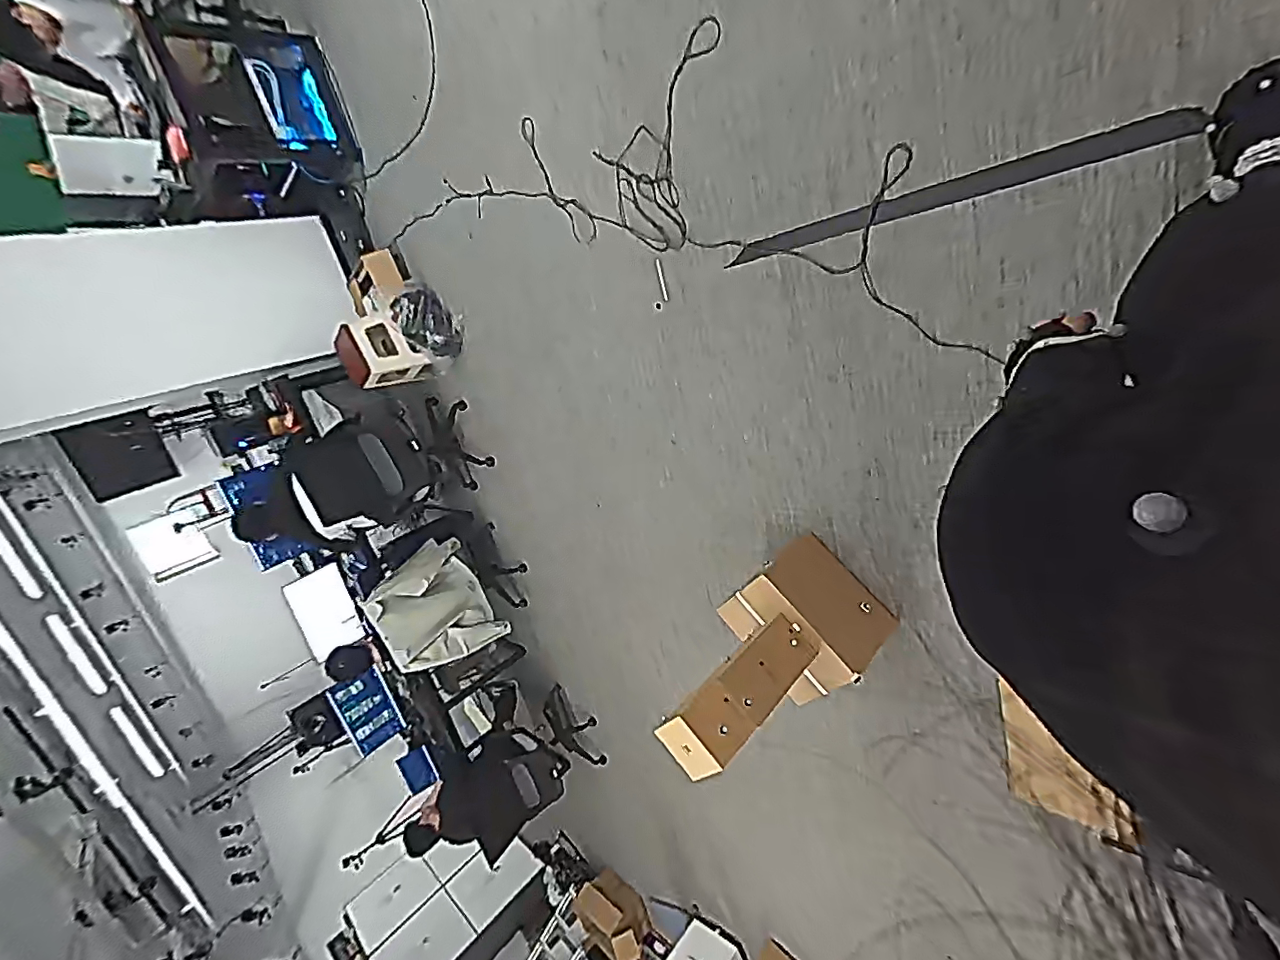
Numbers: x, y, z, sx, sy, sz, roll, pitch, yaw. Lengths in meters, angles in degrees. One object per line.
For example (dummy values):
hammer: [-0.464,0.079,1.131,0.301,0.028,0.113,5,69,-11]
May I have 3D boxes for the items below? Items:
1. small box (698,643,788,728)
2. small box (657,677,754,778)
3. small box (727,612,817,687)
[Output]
small box: [0.295,0.605,1.567,0.168,0.176,0.179,48,141,15]
small box: [0.182,0.665,1.465,0.168,0.176,0.179,48,141,15]
small box: [0.408,0.540,1.666,0.168,0.176,0.179,48,140,15]
